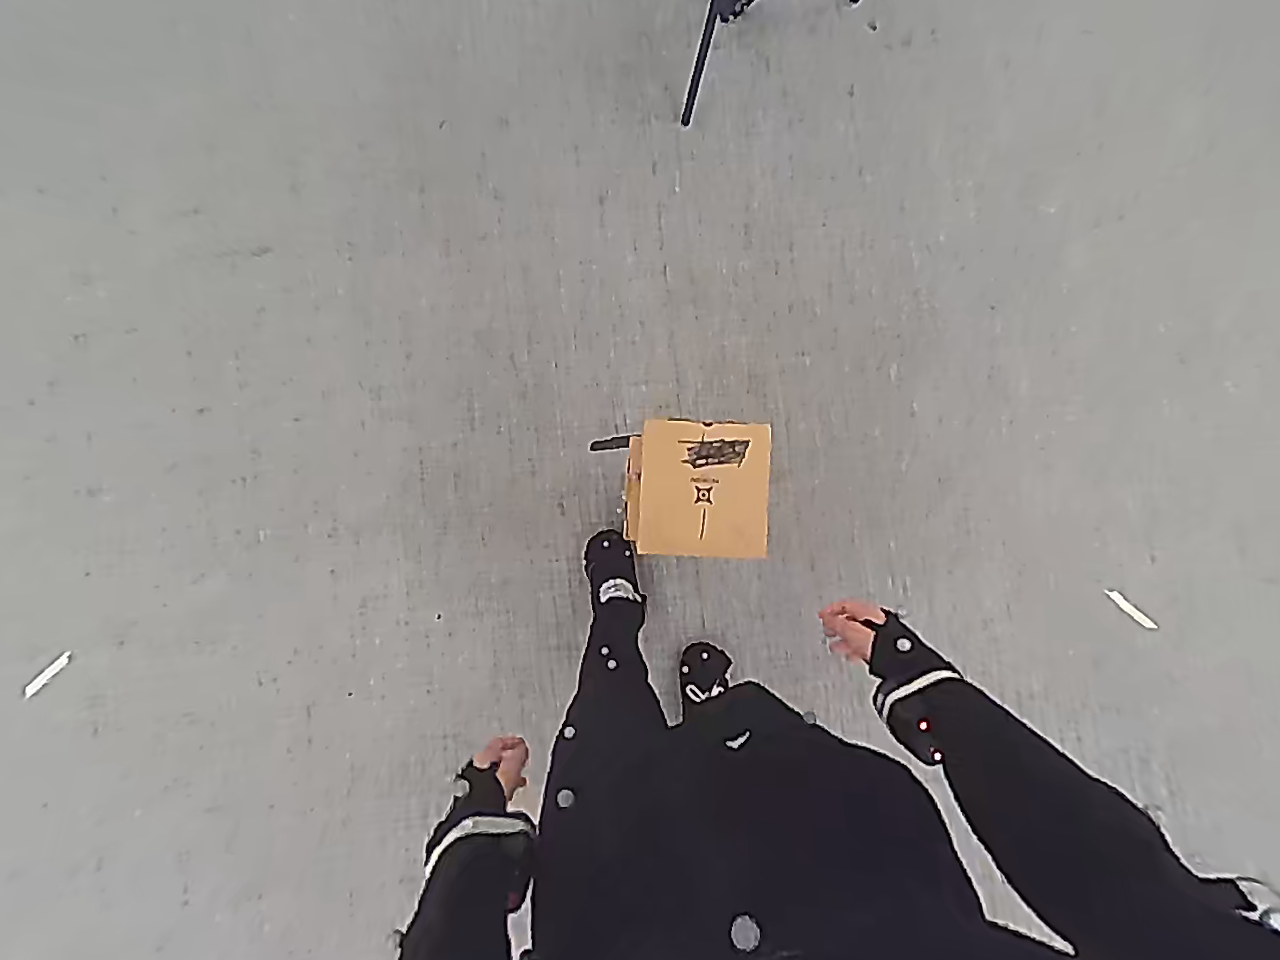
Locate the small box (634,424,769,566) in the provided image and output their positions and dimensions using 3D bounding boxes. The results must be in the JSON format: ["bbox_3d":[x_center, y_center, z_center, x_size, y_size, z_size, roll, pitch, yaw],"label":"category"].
[{"bbox_3d":[0.078,0.023,0.769,0.168,0.176,0.179,3,88,-1],"label":"small box"}]

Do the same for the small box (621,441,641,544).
[{"bbox_3d":[0.059,0.029,0.933,0.179,0.176,0.168,3,87,-2],"label":"small box"}]
